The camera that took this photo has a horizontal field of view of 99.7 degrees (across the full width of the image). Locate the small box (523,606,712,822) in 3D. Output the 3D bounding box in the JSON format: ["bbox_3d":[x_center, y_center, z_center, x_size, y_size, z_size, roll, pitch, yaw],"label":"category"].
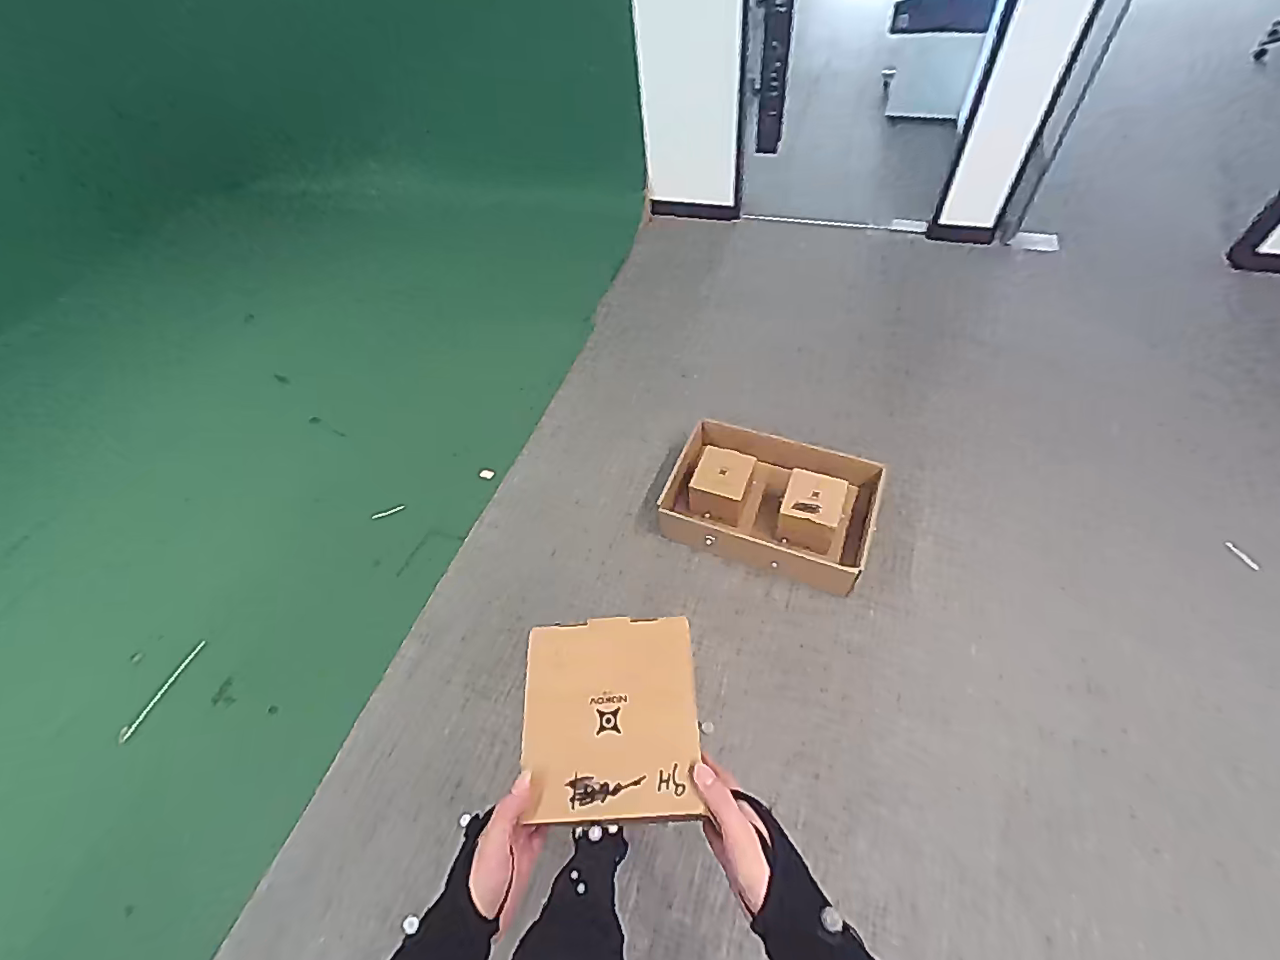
[{"bbox_3d":[-0.016,0.252,0.573,0.168,0.176,0.179,-5,55,3],"label":"small box"}]

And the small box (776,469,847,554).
[{"bbox_3d":[0.517,0.099,1.646,0.168,0.176,0.179,16,56,18],"label":"small box"}]
